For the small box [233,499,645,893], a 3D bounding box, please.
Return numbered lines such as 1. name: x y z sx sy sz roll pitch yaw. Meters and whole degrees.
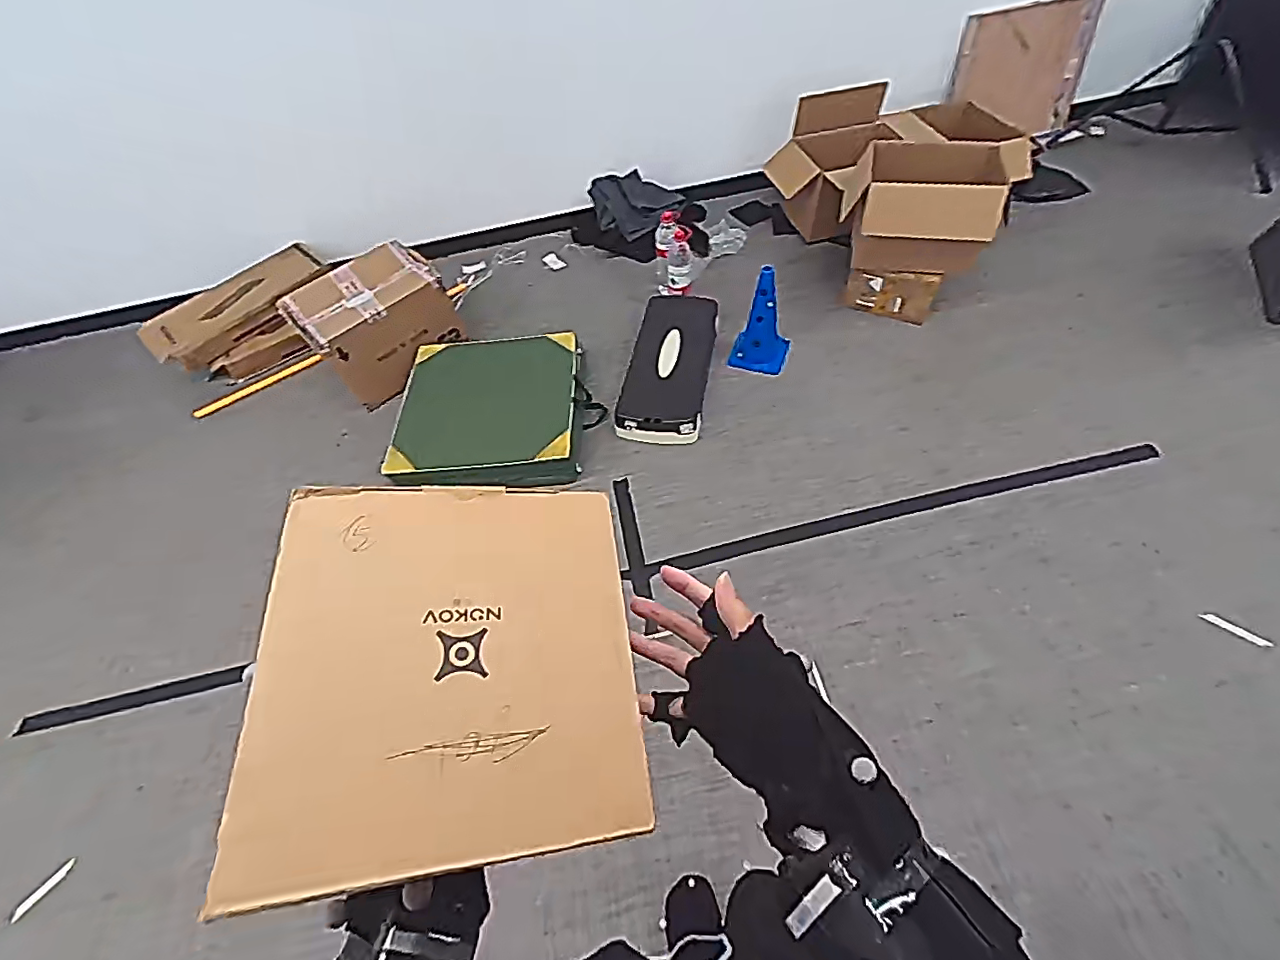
1. small box: -0.107 0.130 0.332 0.168 0.176 0.179 2 57 -17
